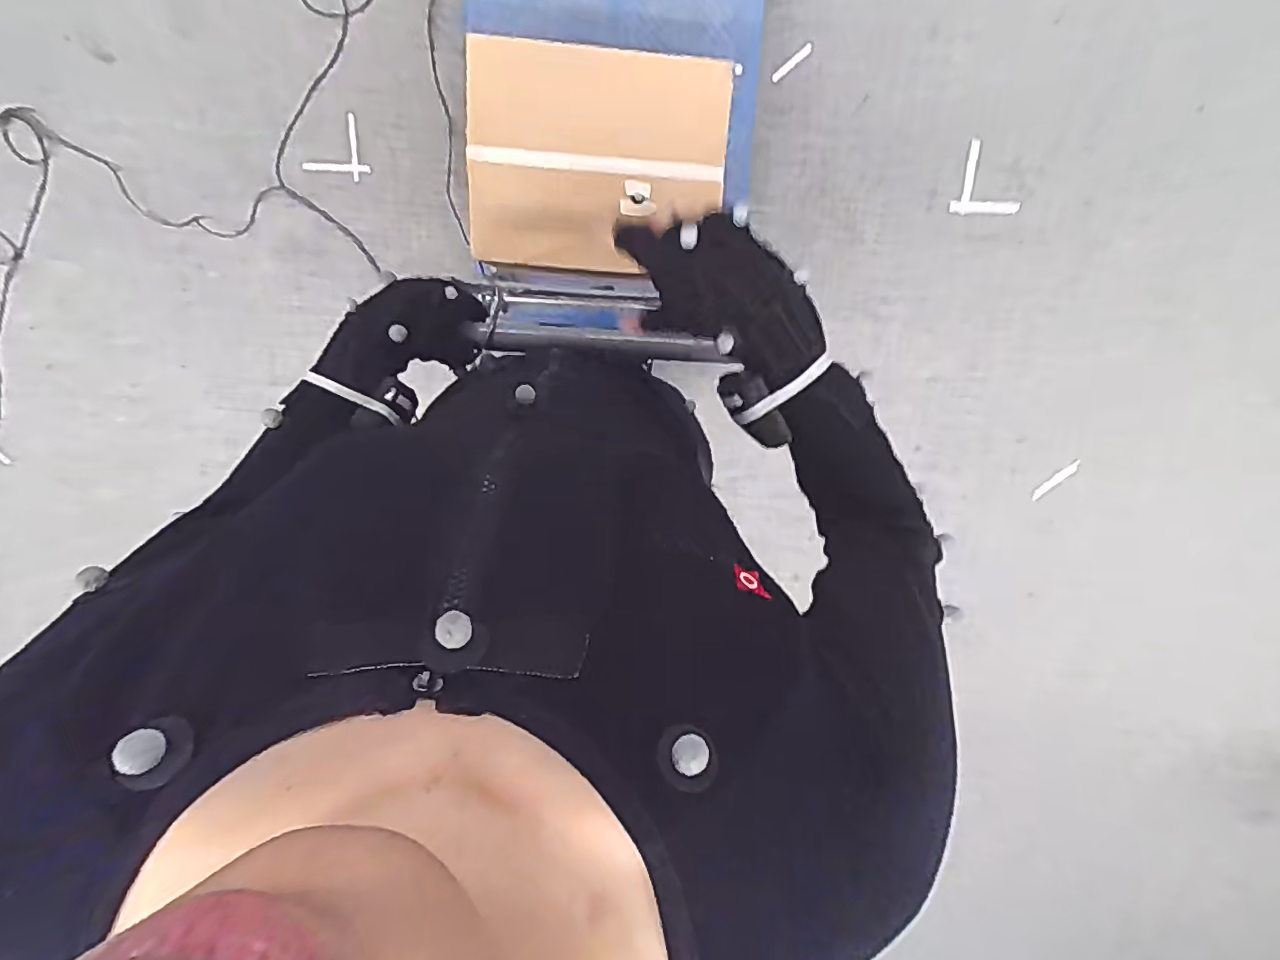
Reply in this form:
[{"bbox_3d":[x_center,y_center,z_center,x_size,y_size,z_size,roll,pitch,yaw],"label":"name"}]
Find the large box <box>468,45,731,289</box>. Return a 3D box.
[{"bbox_3d":[-0.076,-0.532,0.996,0.408,0.320,0.320,3,107,-4],"label":"large box"}]
